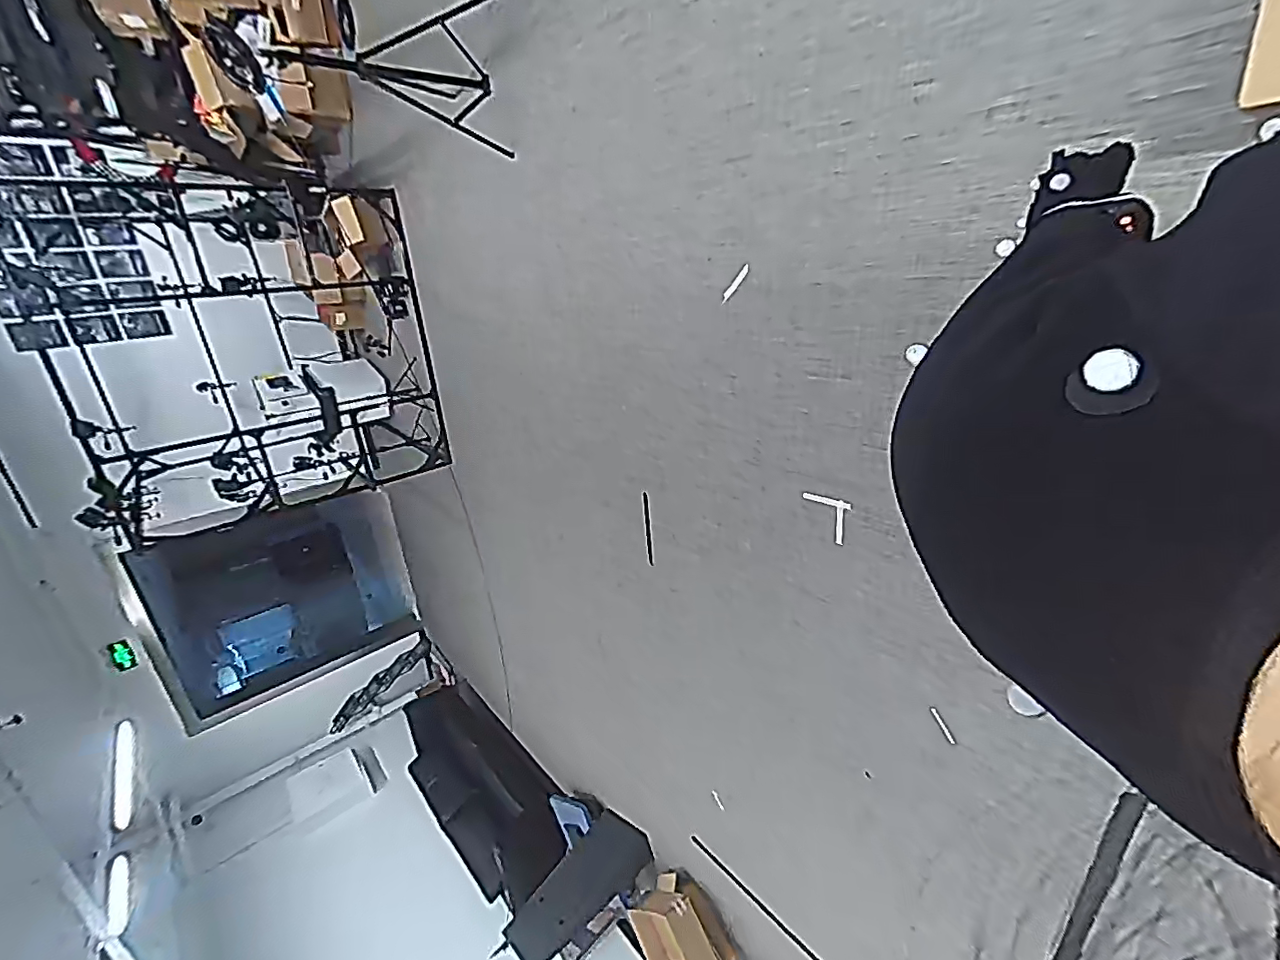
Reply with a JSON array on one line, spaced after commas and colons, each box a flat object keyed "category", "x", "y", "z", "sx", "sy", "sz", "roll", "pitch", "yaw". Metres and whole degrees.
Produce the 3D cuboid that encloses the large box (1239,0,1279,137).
[{"category": "large box", "x": 1.055, "y": -0.657, "z": 0.652, "sx": 0.408, "sy": 0.320, "sz": 0.320, "roll": 15, "pitch": 119, "yaw": 47}]
